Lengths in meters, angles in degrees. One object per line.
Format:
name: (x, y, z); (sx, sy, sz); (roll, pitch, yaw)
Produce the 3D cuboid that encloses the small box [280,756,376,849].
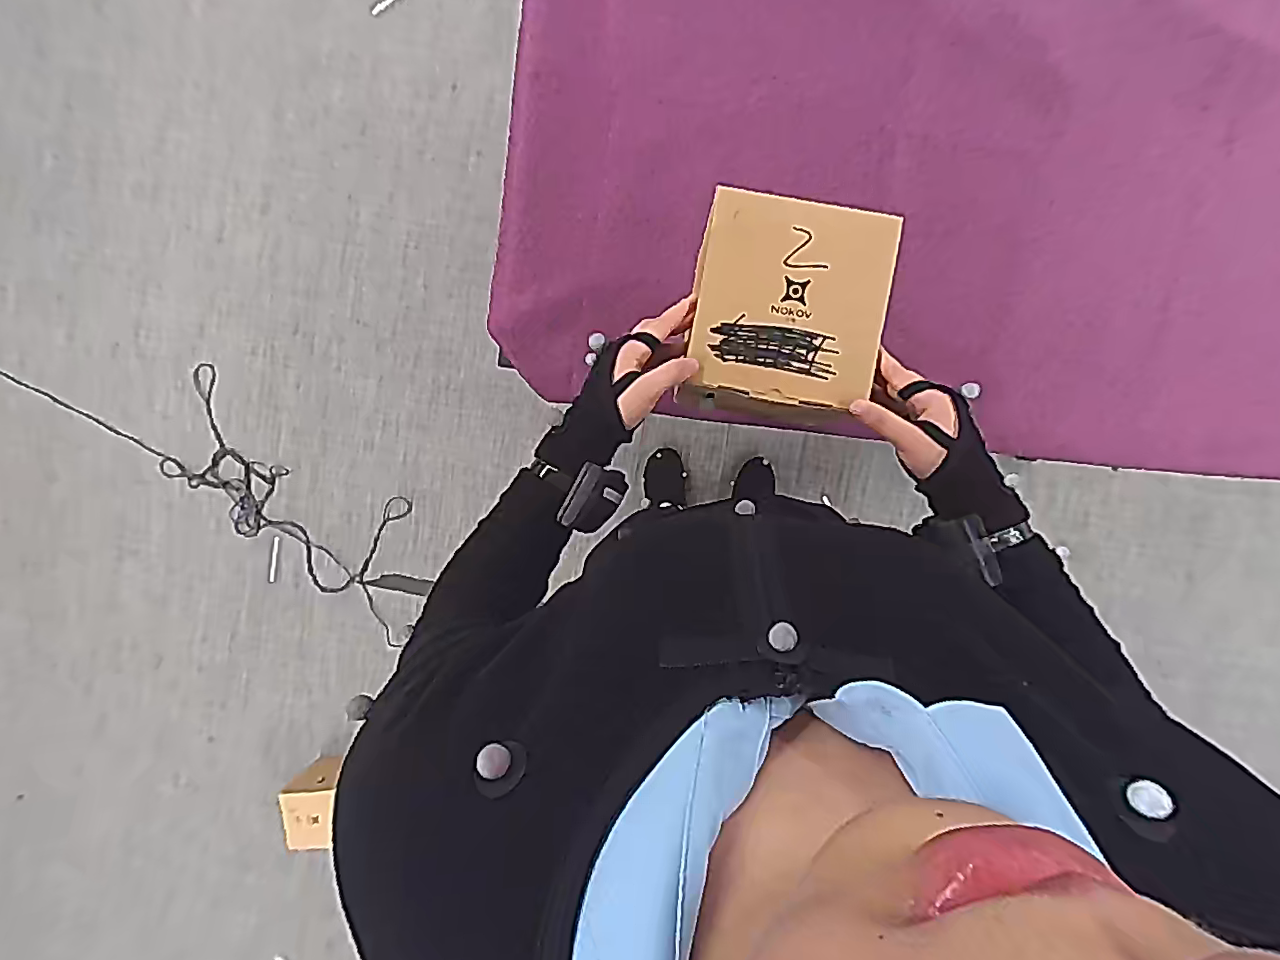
small box: (-0.883, 0.918, 1.552); (0.179, 0.176, 0.168); (-7, 94, 5)
